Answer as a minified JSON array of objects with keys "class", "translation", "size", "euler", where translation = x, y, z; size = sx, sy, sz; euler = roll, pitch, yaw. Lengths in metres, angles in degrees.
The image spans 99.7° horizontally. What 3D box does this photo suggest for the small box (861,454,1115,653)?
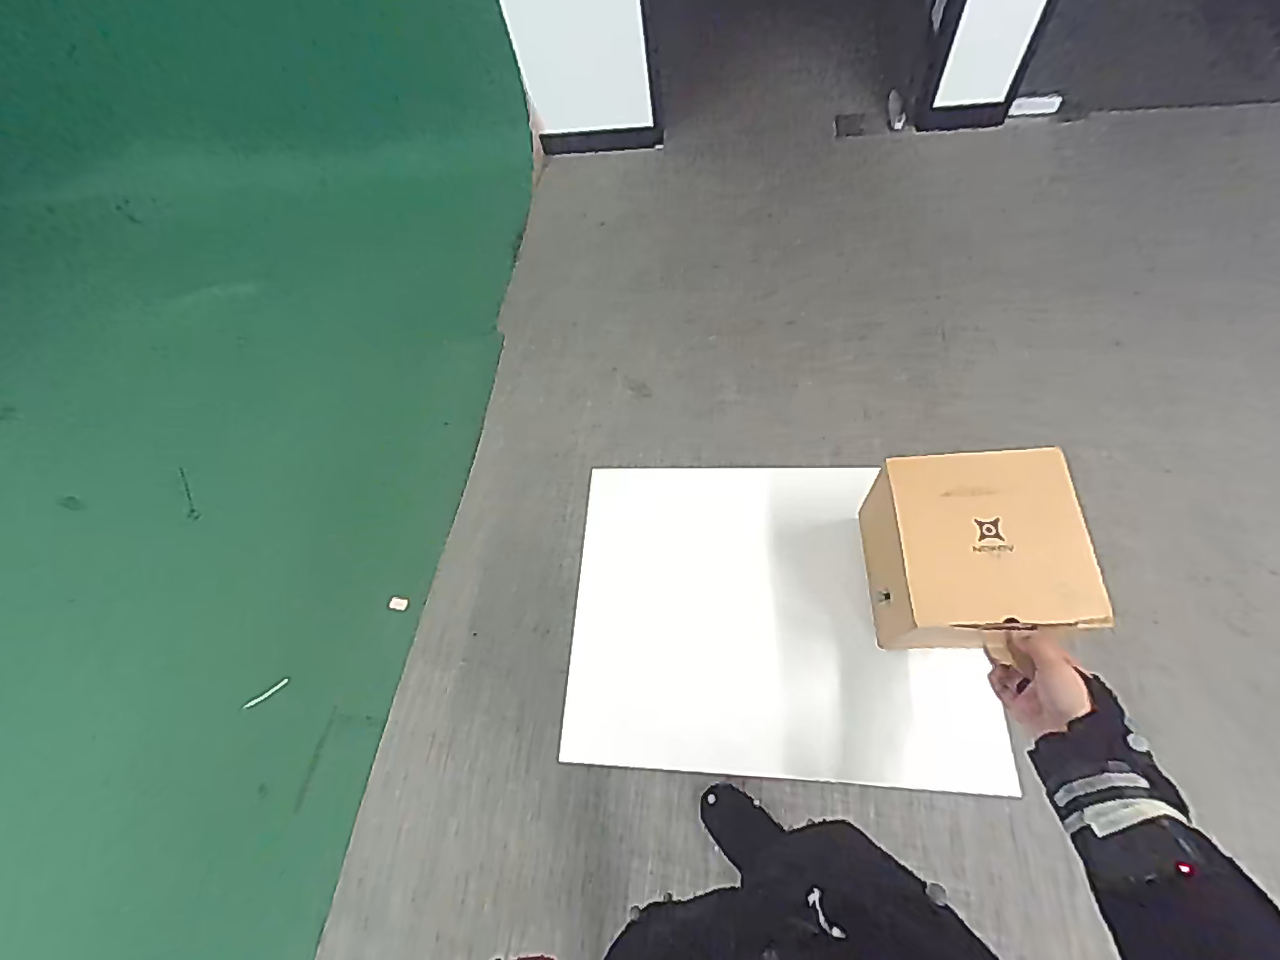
[{"class":"small box","translation":[0.350,0.090,0.587],"size":[0.168,0.176,0.179],"euler":[-4,65,10]}]
